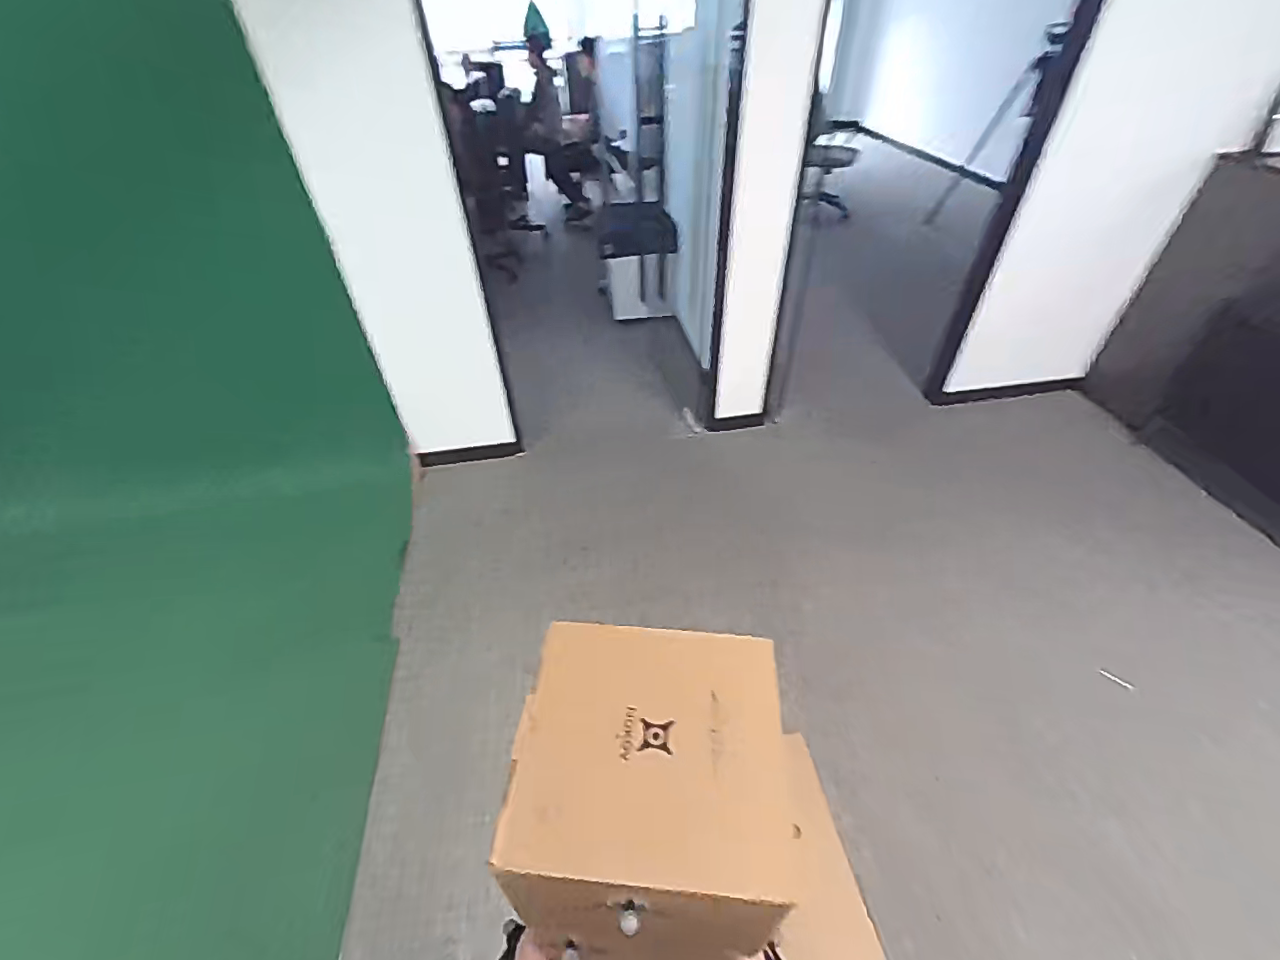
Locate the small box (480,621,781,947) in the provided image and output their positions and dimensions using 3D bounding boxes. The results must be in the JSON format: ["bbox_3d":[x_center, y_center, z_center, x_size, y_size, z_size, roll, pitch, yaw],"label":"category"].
[{"bbox_3d":[0.004,0.230,0.414,0.179,0.176,0.168,4,42,6],"label":"small box"}]

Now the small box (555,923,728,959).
[{"bbox_3d":[0.009,0.466,0.642,0.179,0.176,0.168,3,41,4],"label":"small box"}]
